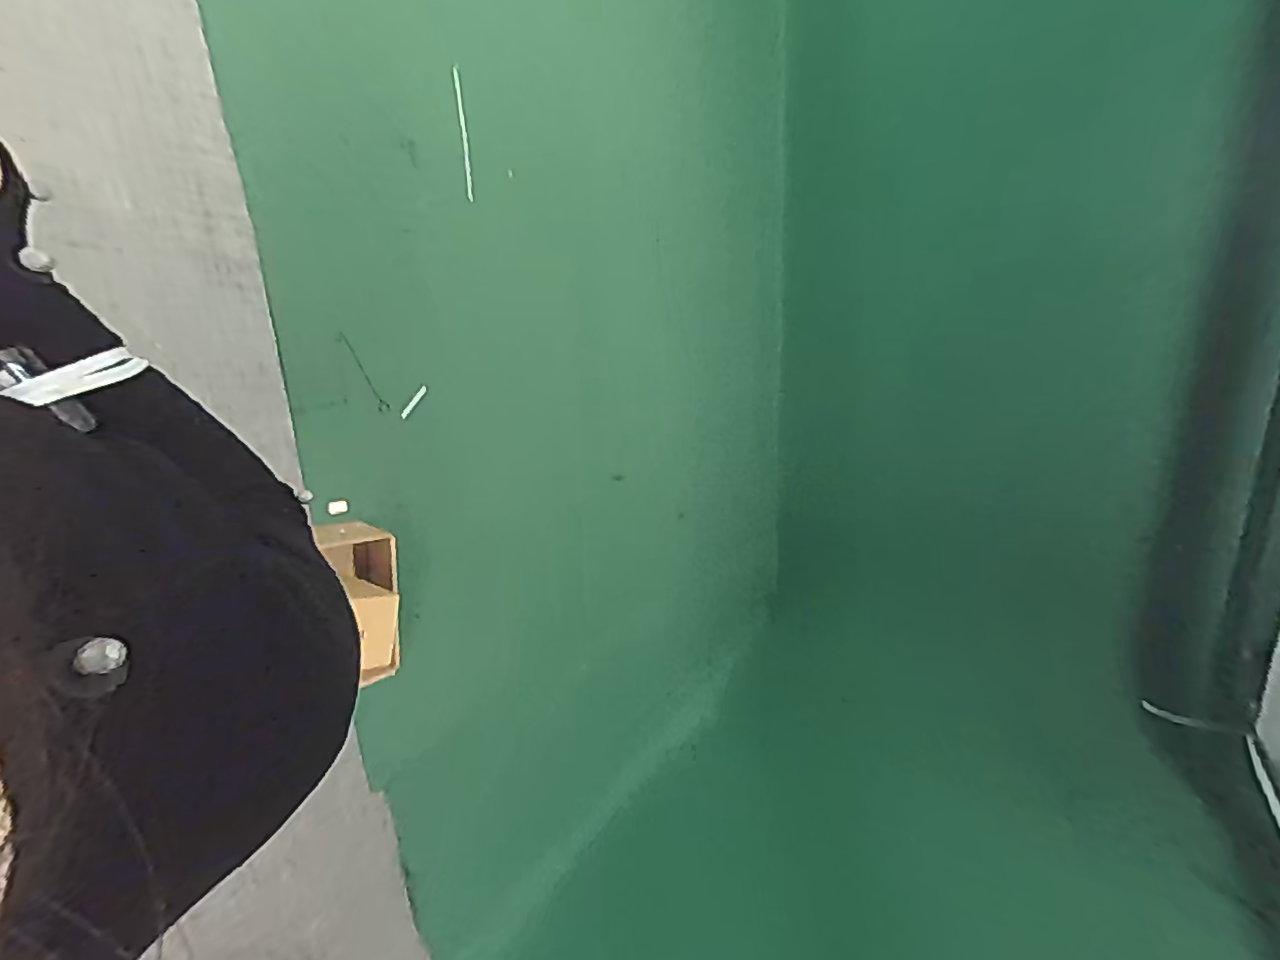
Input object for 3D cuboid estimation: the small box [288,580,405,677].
[{"bbox_3d":[-0.676,0.332,1.248,0.179,0.176,0.168,8,90,-51],"label":"small box"}]
